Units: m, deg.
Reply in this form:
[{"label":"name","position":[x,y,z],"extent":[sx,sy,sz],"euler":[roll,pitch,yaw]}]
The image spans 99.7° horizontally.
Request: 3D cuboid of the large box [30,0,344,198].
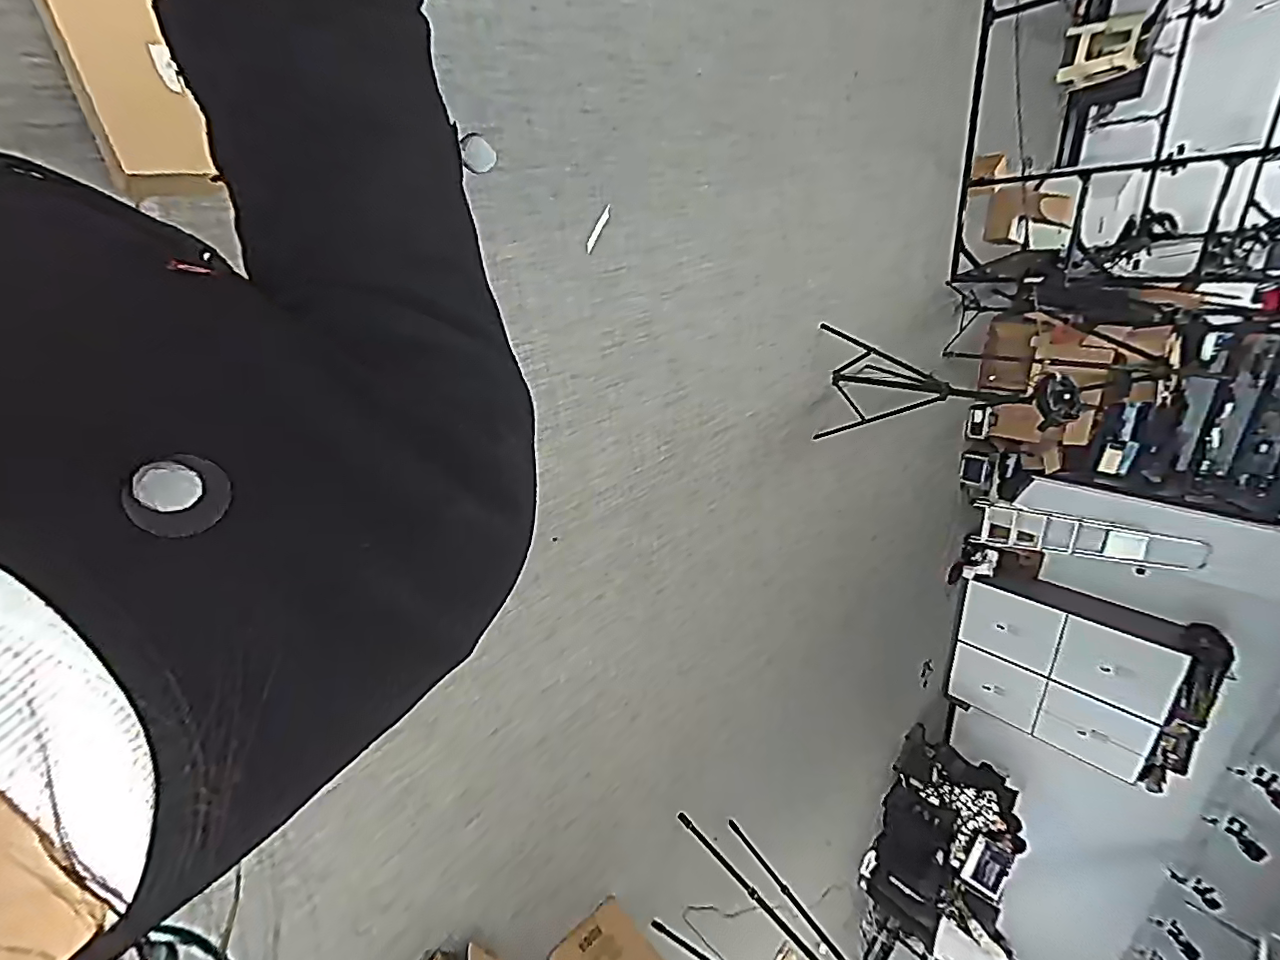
[{"label":"large box","position":[-0.771,-0.719,0.907],"extent":[0.320,0.320,0.408],"euler":[-26,123,-35]}]
